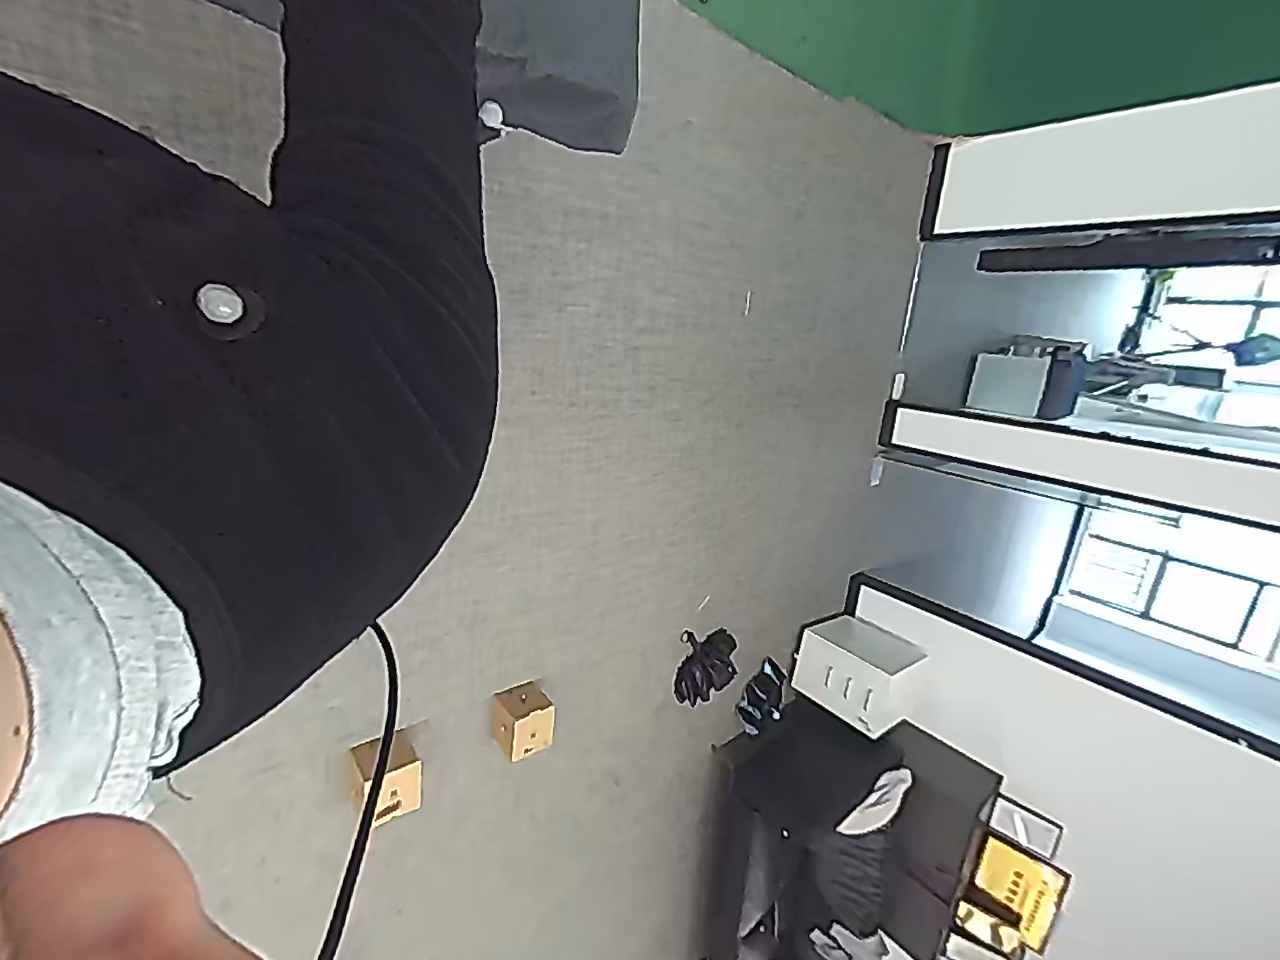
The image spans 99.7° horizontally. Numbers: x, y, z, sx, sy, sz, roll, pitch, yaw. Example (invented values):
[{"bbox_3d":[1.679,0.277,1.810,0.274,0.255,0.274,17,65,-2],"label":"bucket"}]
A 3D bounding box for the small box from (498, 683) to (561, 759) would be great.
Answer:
[{"bbox_3d":[-0.410,0.877,1.994,0.168,0.176,0.179,-6,108,-40],"label":"small box"}]

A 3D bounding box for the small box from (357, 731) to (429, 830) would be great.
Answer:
[{"bbox_3d":[-0.770,0.927,1.685,0.168,0.176,0.179,-6,108,-41],"label":"small box"}]
